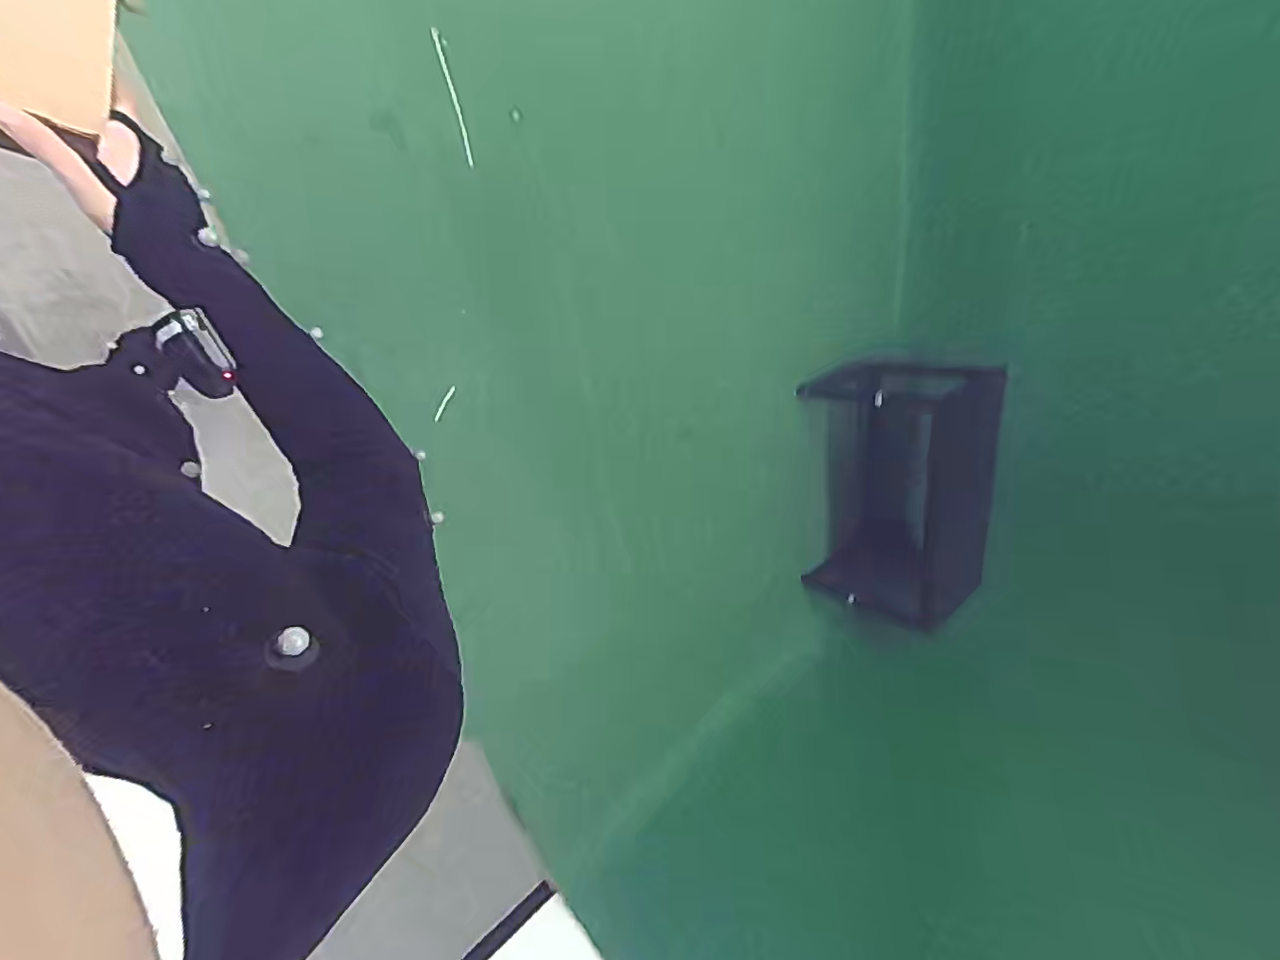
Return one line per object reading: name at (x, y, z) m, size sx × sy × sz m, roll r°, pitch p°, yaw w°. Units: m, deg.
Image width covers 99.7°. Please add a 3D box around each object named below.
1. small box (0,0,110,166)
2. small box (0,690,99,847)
small box at (-0.532, -0.379, 0.418) m, size 0.168 × 0.176 × 0.179 m, roll 2°, pitch 100°, yaw -48°
small box at (-1.154, 0.530, 0.999) m, size 0.168 × 0.176 × 0.179 m, roll -30°, pitch 122°, yaw -31°
